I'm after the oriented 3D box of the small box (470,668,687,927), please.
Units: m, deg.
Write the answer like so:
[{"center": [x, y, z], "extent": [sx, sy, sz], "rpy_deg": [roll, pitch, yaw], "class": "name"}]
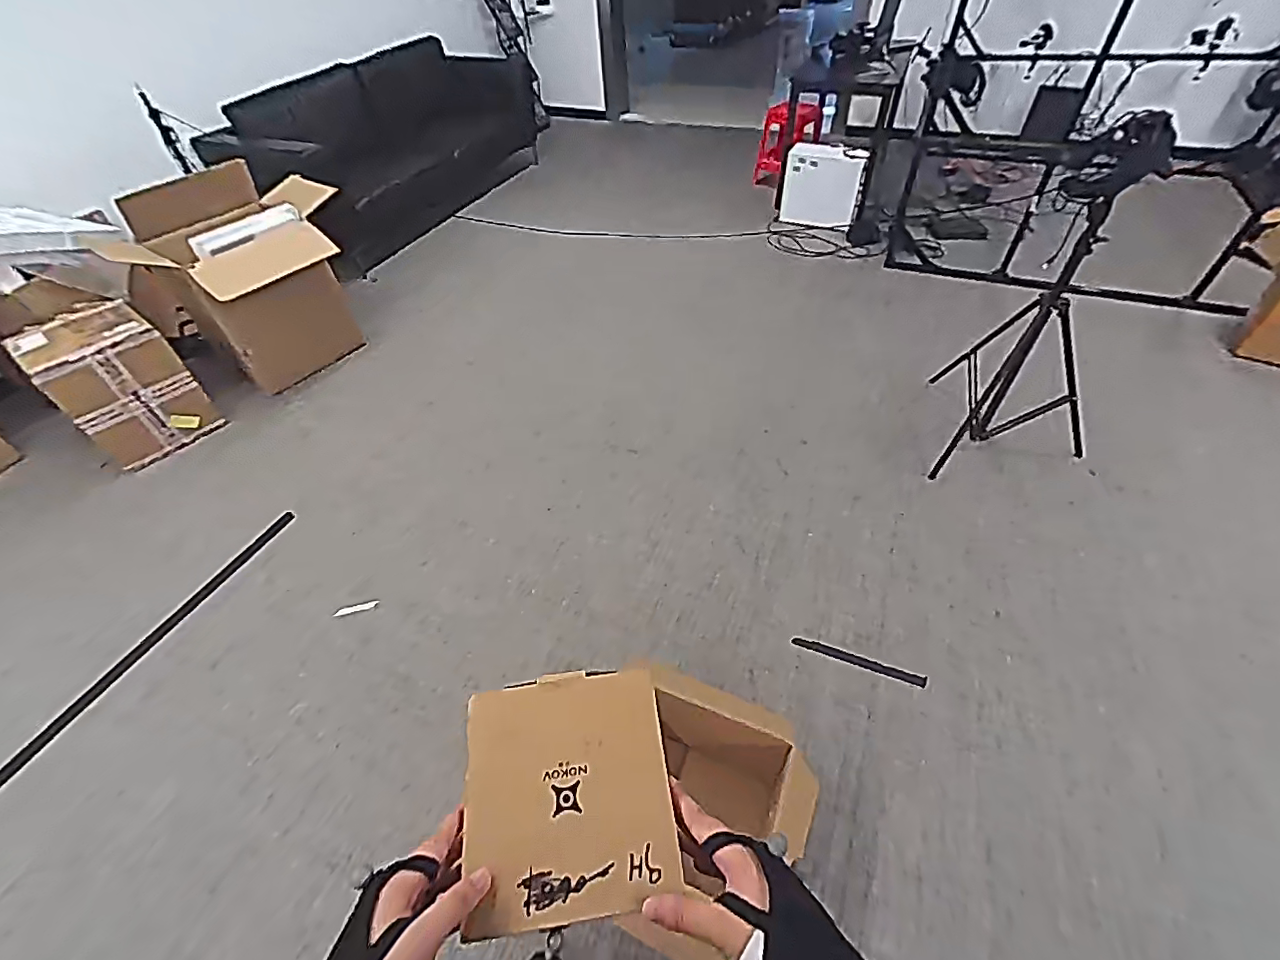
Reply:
[{"center": [-0.053, 0.299, 0.515], "extent": [0.168, 0.176, 0.179], "rpy_deg": [-6, 55, -3], "class": "small box"}]
